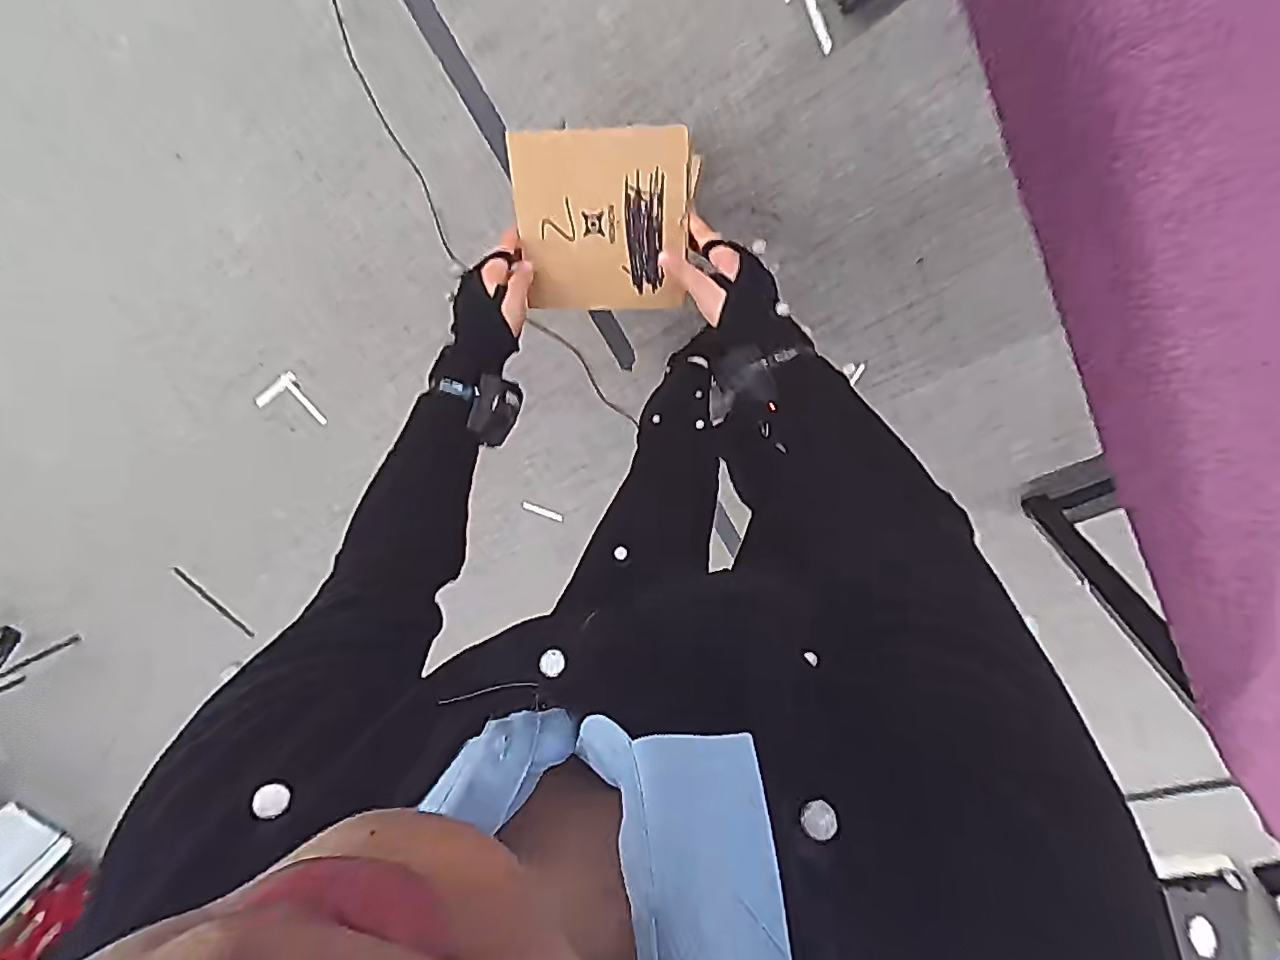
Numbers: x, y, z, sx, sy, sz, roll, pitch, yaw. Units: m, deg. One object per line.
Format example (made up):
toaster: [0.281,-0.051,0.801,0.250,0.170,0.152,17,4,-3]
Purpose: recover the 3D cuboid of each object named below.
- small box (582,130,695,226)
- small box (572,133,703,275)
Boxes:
small box: [0.006,-0.550,1.029,0.179,0.176,0.168,-4,119,11]
small box: [0.002,-0.455,0.892,0.179,0.176,0.168,15,120,1]
